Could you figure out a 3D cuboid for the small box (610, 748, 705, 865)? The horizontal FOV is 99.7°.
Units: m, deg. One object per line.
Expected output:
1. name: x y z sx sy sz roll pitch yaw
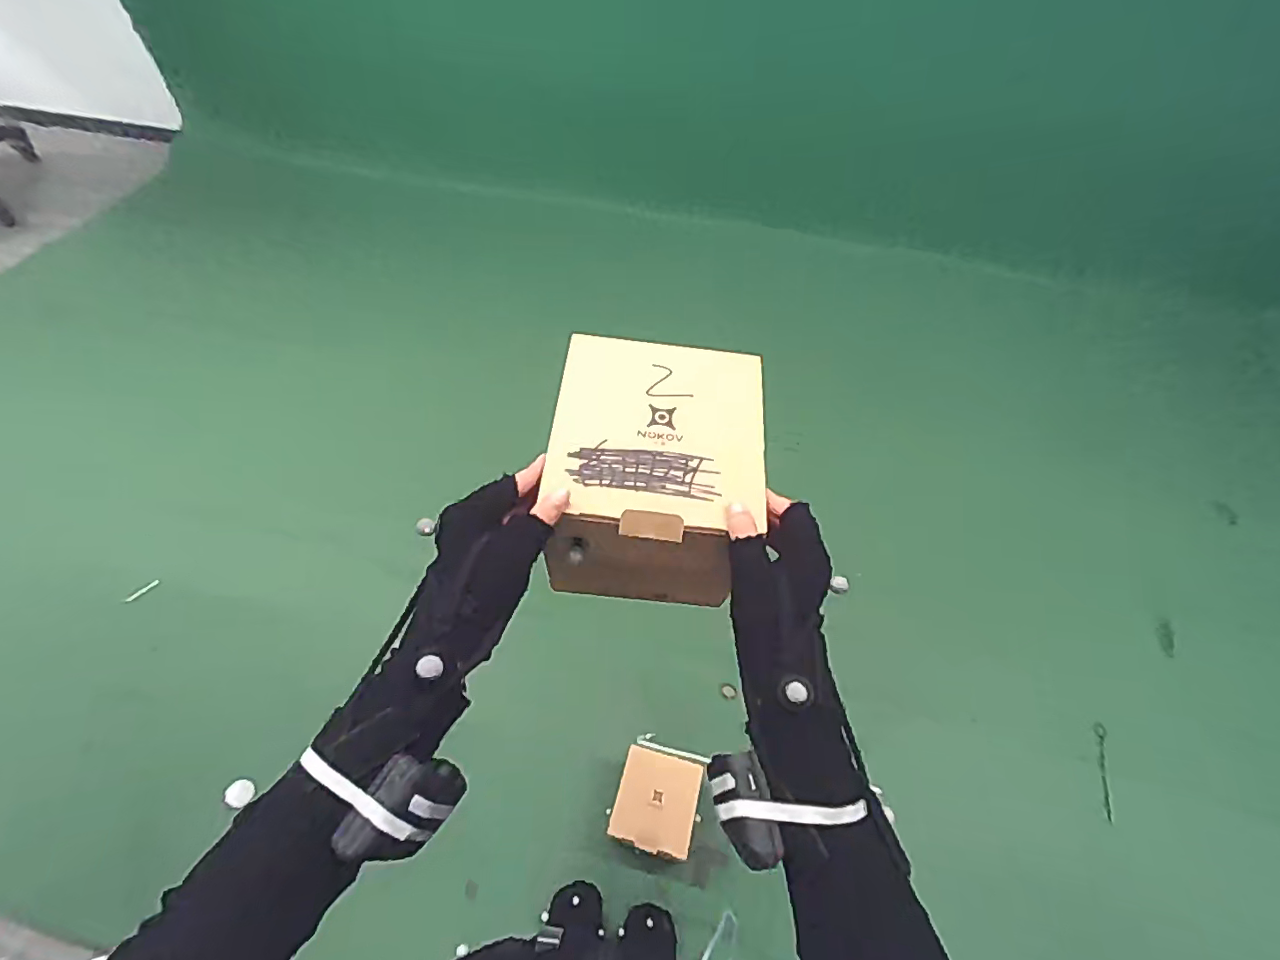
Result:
1. small box: 0.036 0.718 1.187 0.168 0.176 0.179 13 55 8
